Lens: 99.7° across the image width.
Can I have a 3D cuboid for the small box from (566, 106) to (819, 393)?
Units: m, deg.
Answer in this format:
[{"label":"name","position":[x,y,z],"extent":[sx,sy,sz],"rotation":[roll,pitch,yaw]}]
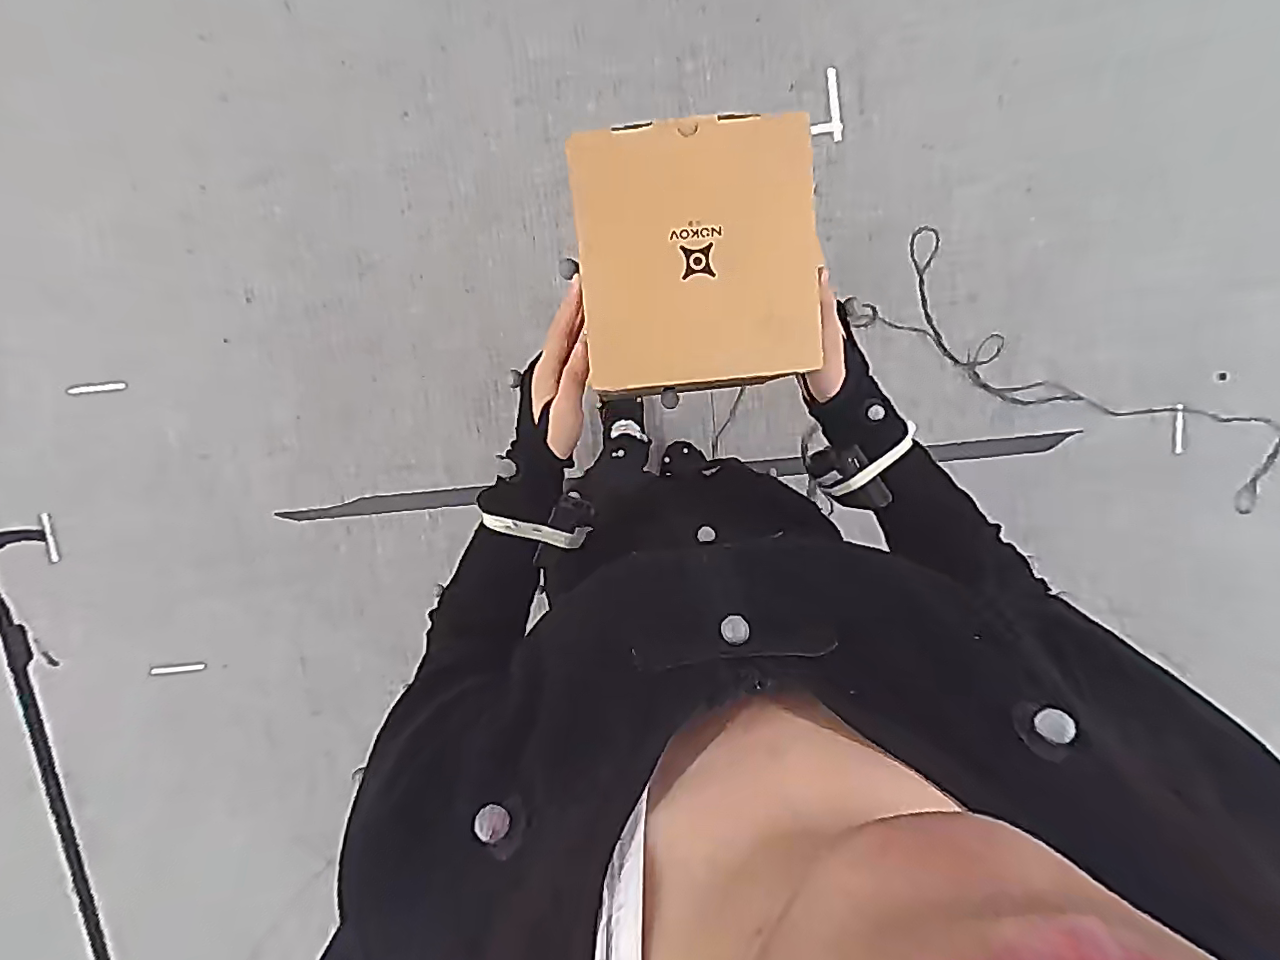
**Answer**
[{"label":"small box","position":[0.038,-0.166,0.449],"extent":[0.168,0.176,0.179],"rotation":[-6,96,0]}]
